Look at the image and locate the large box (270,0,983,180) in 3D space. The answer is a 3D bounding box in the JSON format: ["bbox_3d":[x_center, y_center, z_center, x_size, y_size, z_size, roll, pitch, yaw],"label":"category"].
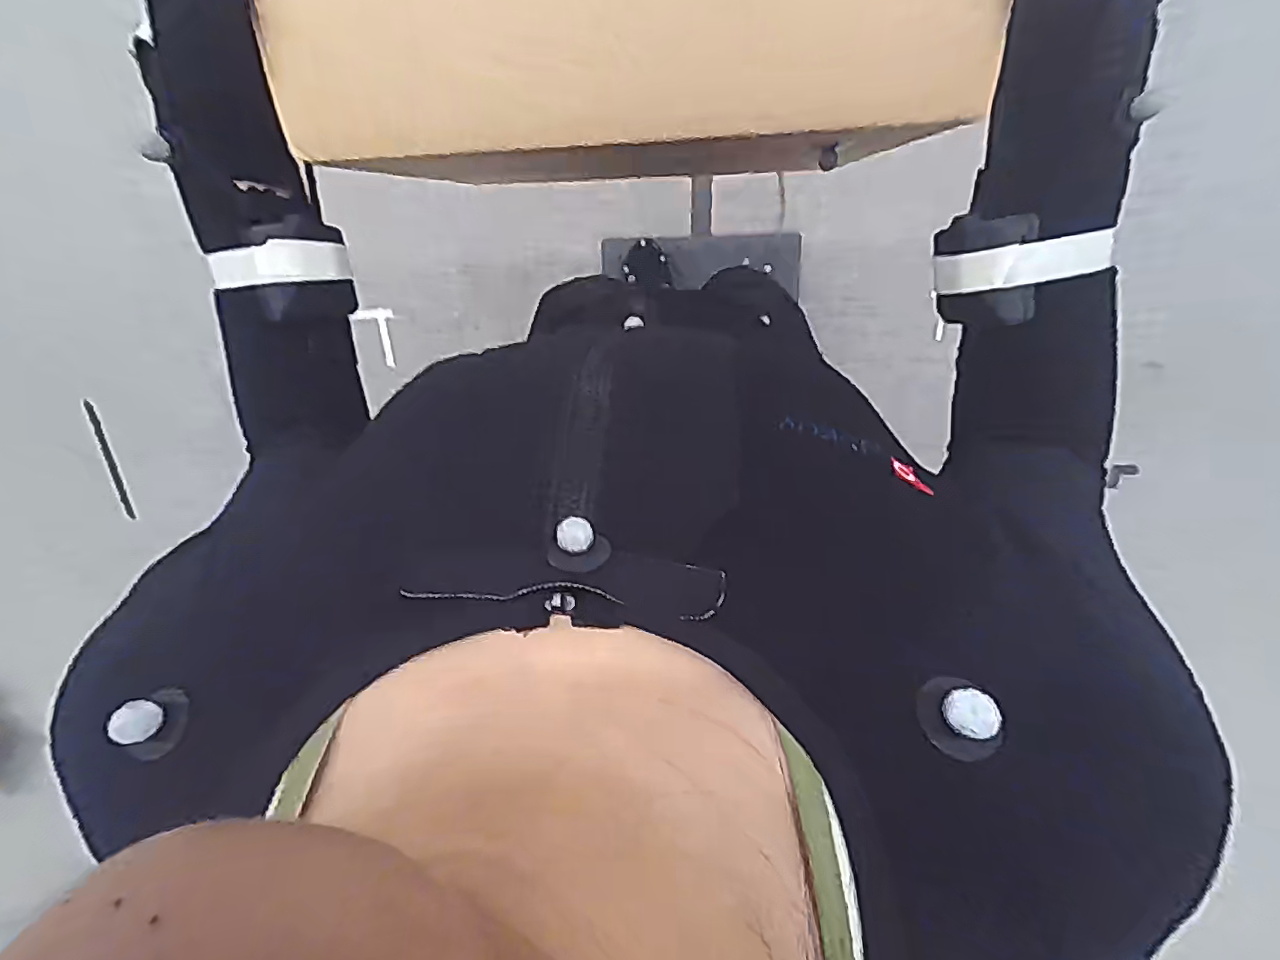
[{"bbox_3d":[-0.006,-0.411,0.394,0.408,0.320,0.320,0,116,5],"label":"large box"}]

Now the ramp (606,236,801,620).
[{"bbox_3d":[0.156,-0.109,1.429,0.509,0.206,0.991,-1,109,7],"label":"ramp"}]
